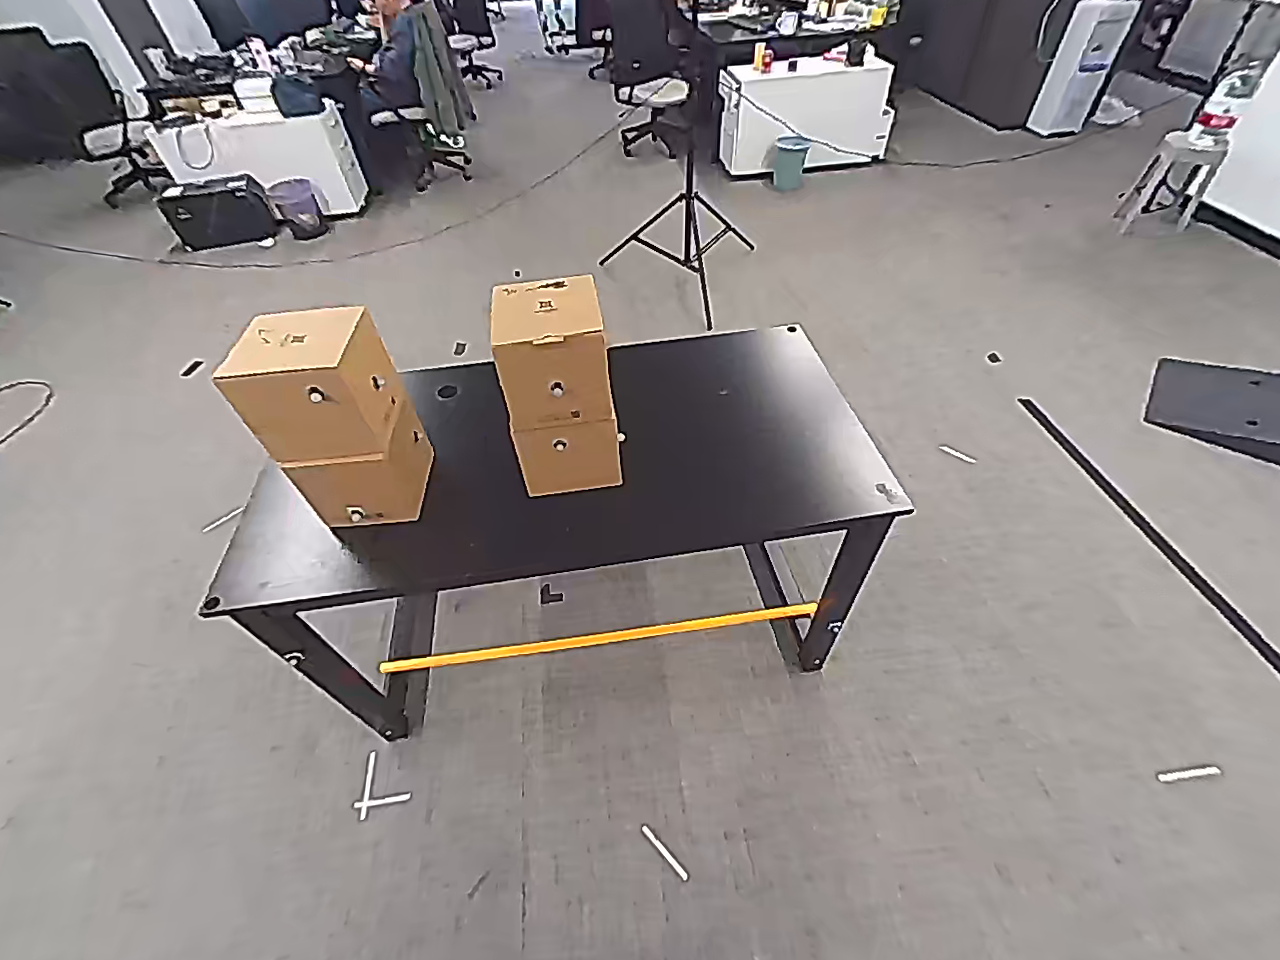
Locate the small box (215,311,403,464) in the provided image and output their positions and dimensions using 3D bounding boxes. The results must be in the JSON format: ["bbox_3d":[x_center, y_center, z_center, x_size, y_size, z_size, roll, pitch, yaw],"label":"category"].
[{"bbox_3d":[-0.502,-0.144,0.857,0.179,0.176,0.168,-6,47,-1],"label":"small box"}]

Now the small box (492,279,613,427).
[{"bbox_3d":[-0.139,-0.201,0.885,0.168,0.176,0.179,-9,49,-4],"label":"small box"}]

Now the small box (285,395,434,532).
[{"bbox_3d":[-0.488,-0.029,0.975,0.168,0.176,0.179,-6,49,-1],"label":"small box"}]

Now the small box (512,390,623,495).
[{"bbox_3d":[-0.131,-0.088,1.004,0.179,0.176,0.168,-7,48,-4],"label":"small box"}]
